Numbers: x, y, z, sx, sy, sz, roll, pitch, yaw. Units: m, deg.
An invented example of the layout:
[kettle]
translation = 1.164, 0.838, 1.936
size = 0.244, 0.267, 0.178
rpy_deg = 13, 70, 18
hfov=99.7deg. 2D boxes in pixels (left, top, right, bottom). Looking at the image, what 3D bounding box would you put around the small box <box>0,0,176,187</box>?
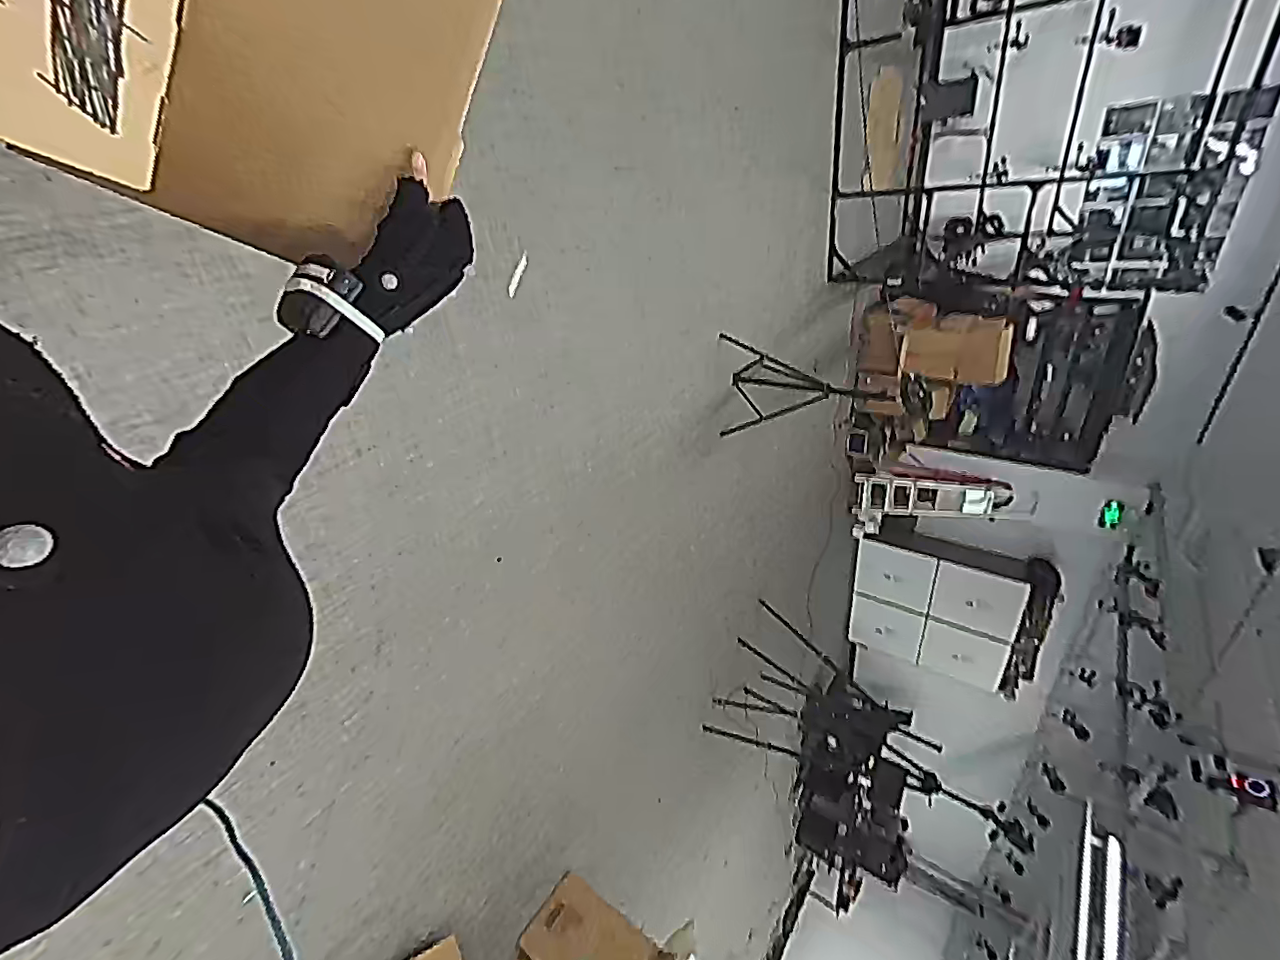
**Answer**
[small box]
translation = -0.401, -0.292, 0.285
size = 0.168, 0.176, 0.179
rpy_deg = -69, 165, 13
